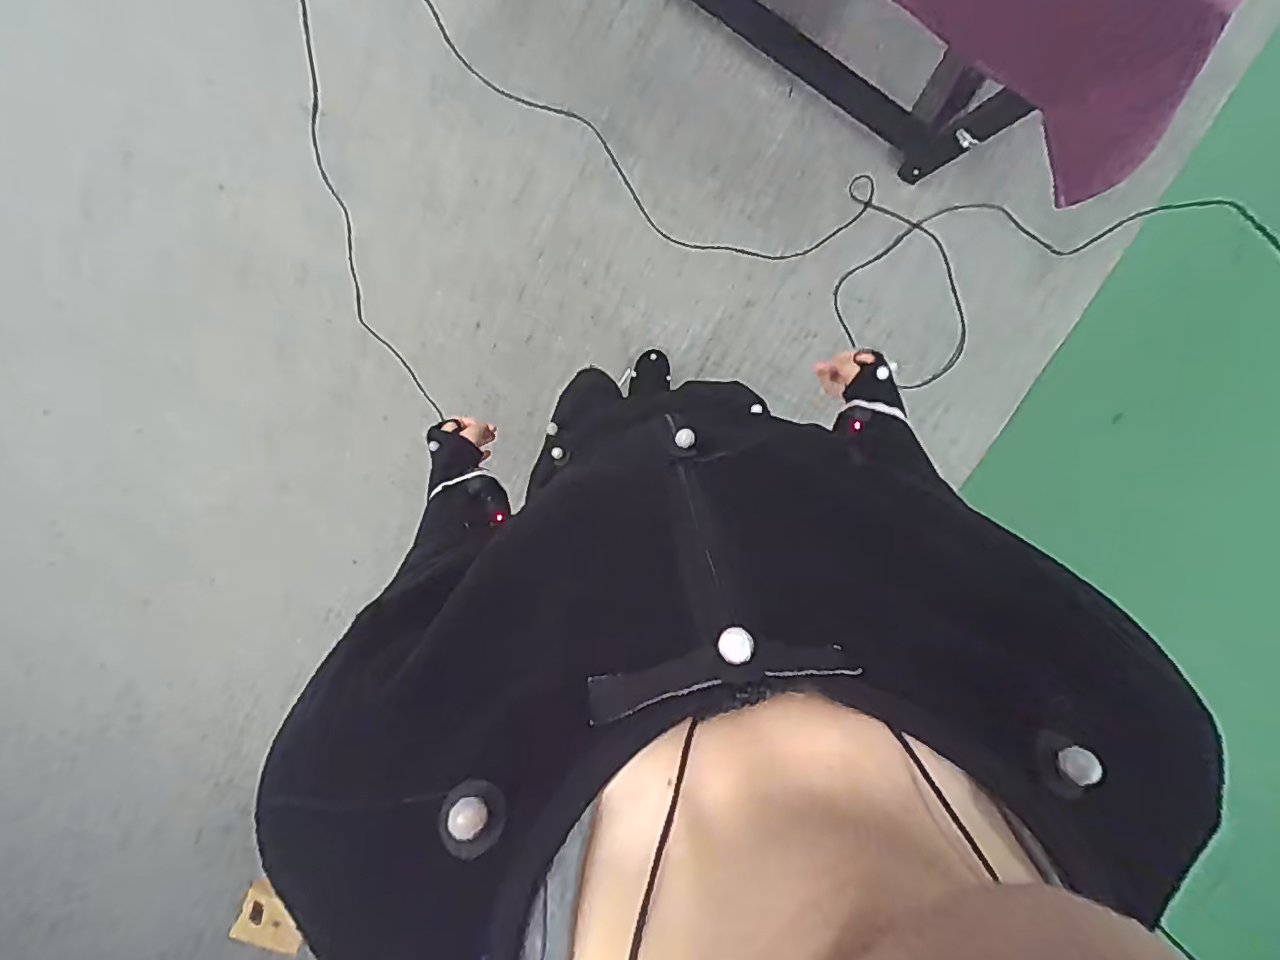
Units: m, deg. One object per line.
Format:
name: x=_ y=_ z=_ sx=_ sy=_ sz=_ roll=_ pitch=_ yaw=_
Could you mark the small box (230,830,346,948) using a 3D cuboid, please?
small box: x=-0.941 y=1.093 z=1.459 sx=0.179 sy=0.176 sz=0.168 roll=26 pitch=100 yaw=-9
